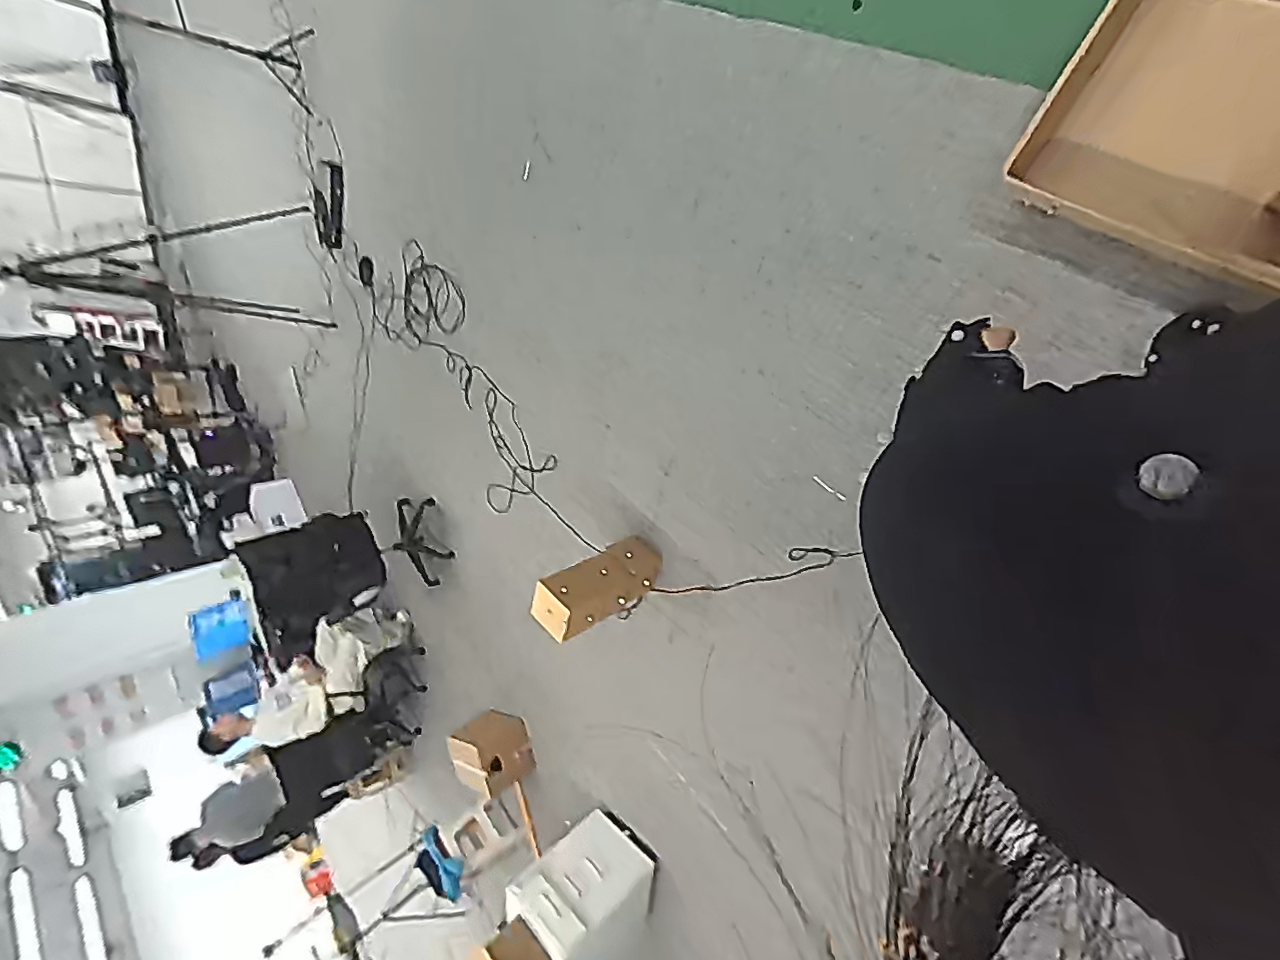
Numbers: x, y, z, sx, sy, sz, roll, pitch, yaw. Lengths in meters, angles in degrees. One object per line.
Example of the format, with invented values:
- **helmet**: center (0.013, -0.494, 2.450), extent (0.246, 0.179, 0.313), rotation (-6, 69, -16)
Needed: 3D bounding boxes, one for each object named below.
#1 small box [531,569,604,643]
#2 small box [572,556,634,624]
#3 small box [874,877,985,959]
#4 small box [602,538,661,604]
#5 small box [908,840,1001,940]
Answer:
- **small box**: center (-0.259, 0.440, 1.930), extent (0.179, 0.176, 0.168), rotation (35, 125, 30)
- **small box**: center (-0.154, 0.407, 2.050), extent (0.179, 0.176, 0.168), rotation (36, 126, 30)
- **small box**: center (0.763, 1.203, 1.418), extent (0.179, 0.176, 0.168), rotation (42, 127, 28)
- **small box**: center (-0.041, 0.355, 2.158), extent (0.179, 0.176, 0.168), rotation (34, 123, 33)
- **small box**: center (0.881, 1.169, 1.525), extent (0.168, 0.176, 0.179), rotation (41, 127, 28)
